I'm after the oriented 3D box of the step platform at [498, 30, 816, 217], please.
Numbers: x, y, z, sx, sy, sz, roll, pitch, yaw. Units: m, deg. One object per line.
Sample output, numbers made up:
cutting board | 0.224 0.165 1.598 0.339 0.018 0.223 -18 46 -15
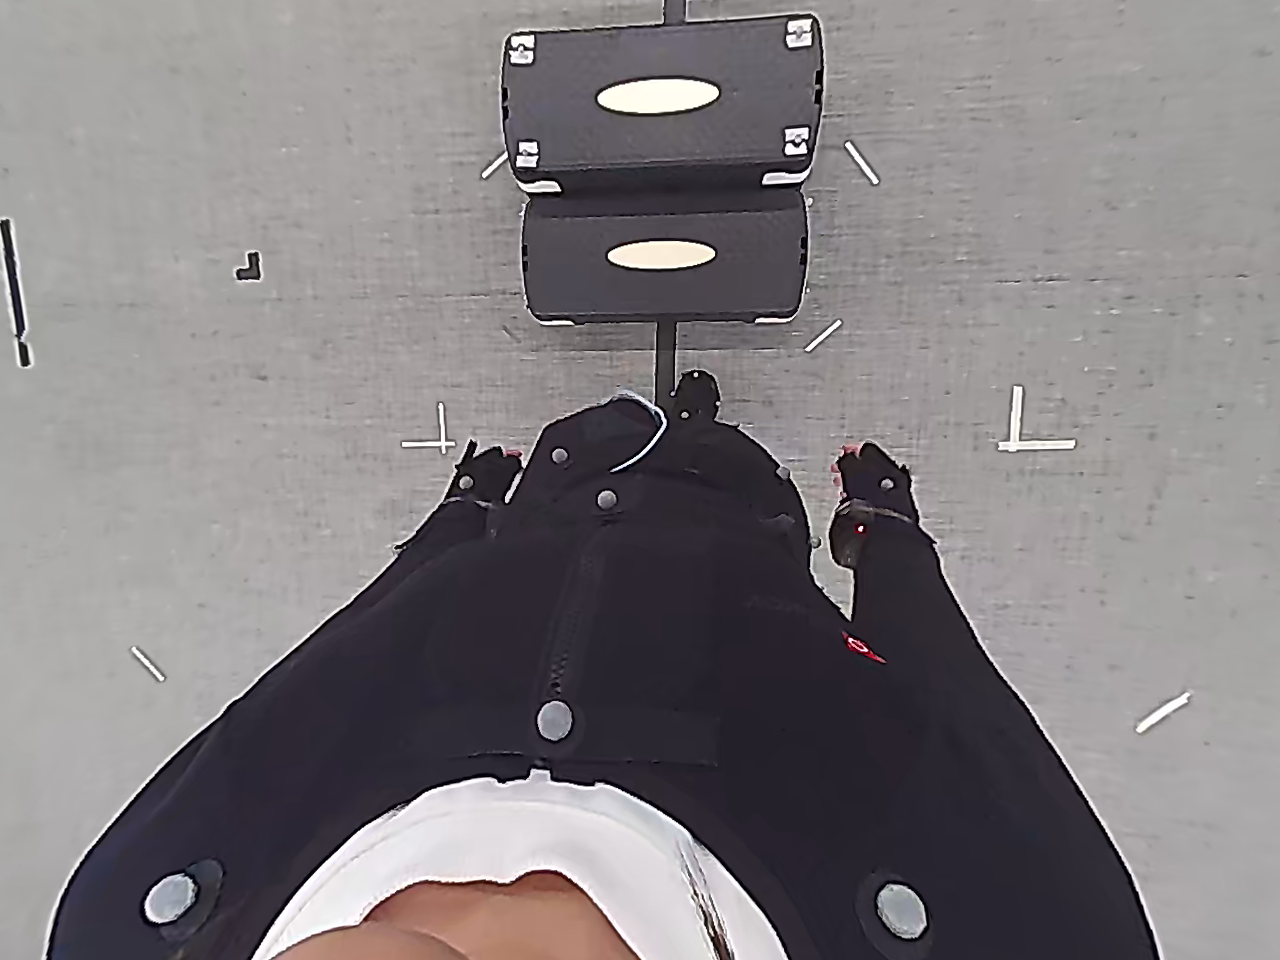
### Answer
step platform | 0.033 -0.777 1.205 0.684 0.204 0.286 0 100 5
